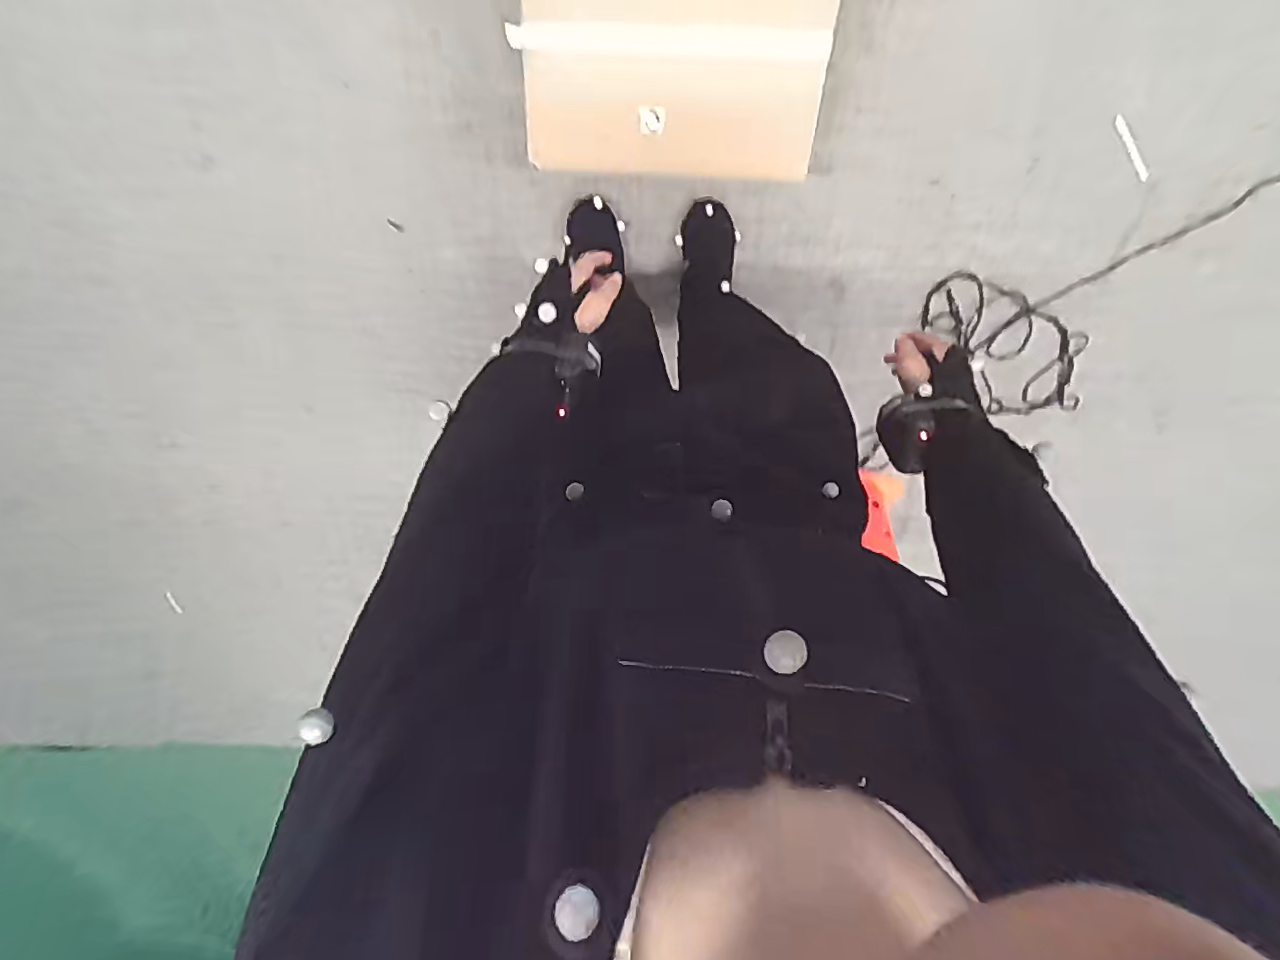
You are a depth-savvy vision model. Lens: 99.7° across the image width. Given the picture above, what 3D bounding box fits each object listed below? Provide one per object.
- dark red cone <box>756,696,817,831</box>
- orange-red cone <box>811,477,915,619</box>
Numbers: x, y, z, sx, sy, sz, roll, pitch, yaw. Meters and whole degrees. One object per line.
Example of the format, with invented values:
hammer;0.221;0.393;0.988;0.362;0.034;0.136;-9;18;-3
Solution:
dark red cone;0.496;0.897;1.722;0.202;0.394;0.201;-4;125;5
orange-red cone;0.574;0.185;1.292;0.199;0.360;0.198;19;122;-10
